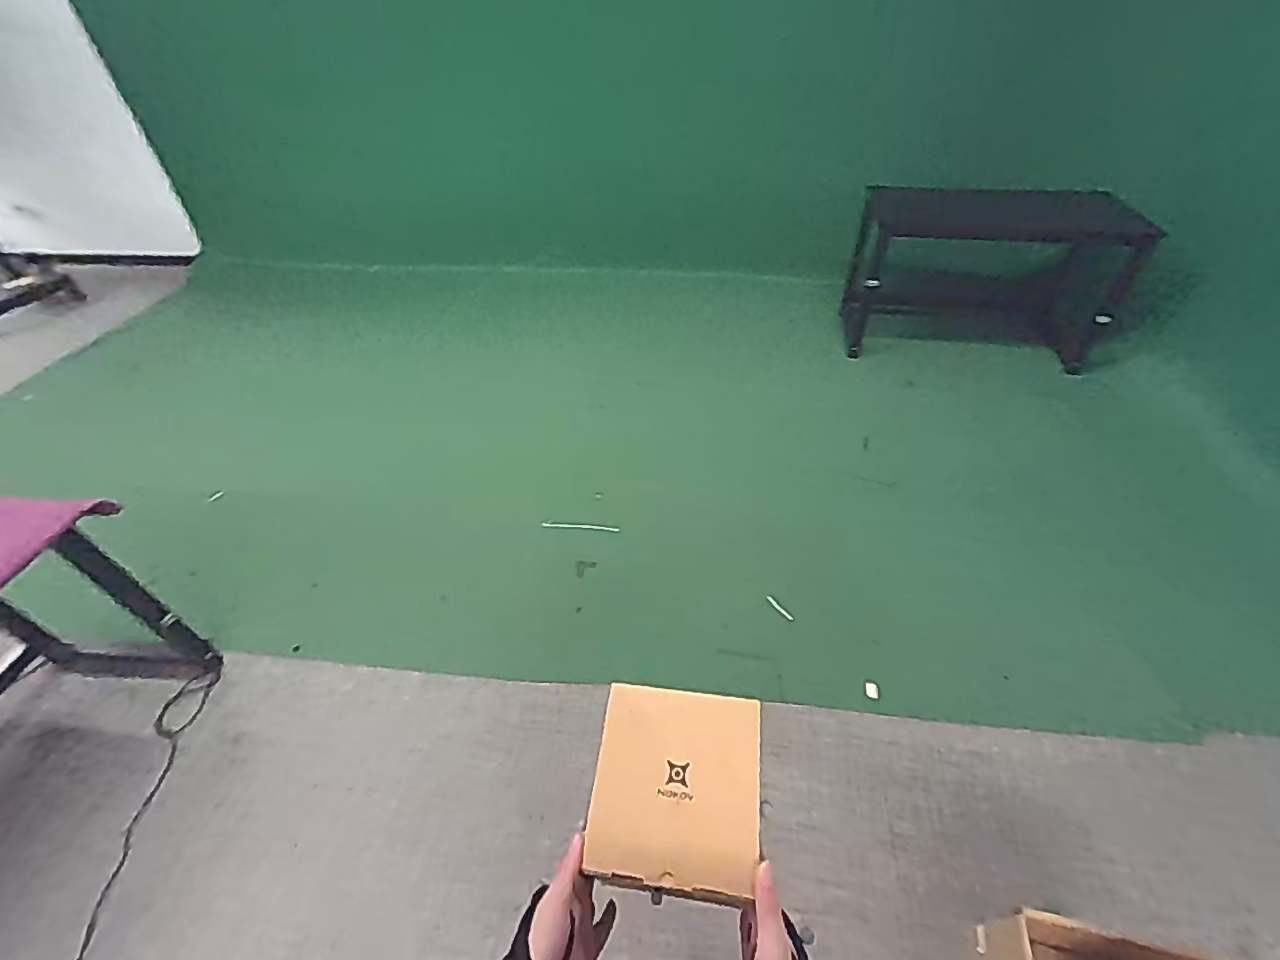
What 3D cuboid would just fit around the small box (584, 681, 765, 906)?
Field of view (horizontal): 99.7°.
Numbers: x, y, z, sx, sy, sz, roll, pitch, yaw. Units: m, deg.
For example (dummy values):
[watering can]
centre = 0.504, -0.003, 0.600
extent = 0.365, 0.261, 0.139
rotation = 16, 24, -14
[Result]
[small box]
centre = 0.042, 0.345, 0.594
extent = 0.168, 0.176, 0.179
rotation = 4, 52, 7
